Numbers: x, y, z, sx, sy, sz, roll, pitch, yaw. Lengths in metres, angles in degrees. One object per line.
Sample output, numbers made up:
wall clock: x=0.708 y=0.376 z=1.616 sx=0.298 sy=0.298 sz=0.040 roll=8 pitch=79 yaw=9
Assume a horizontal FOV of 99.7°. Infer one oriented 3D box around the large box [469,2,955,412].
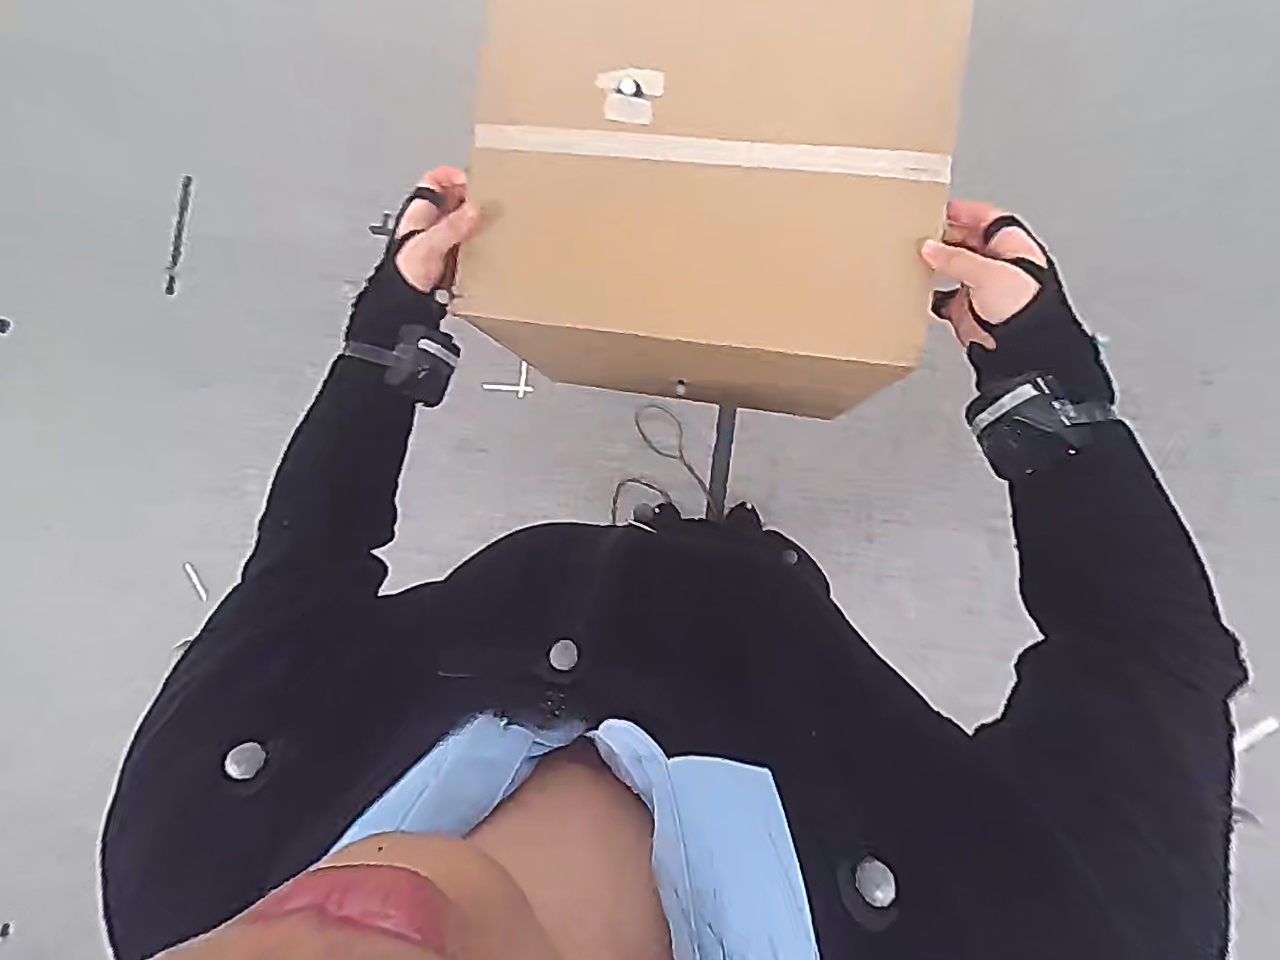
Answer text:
large box: x=0.075 y=-0.268 z=0.624 sx=0.408 sy=0.320 sz=0.320 roll=8 pitch=88 yaw=8
